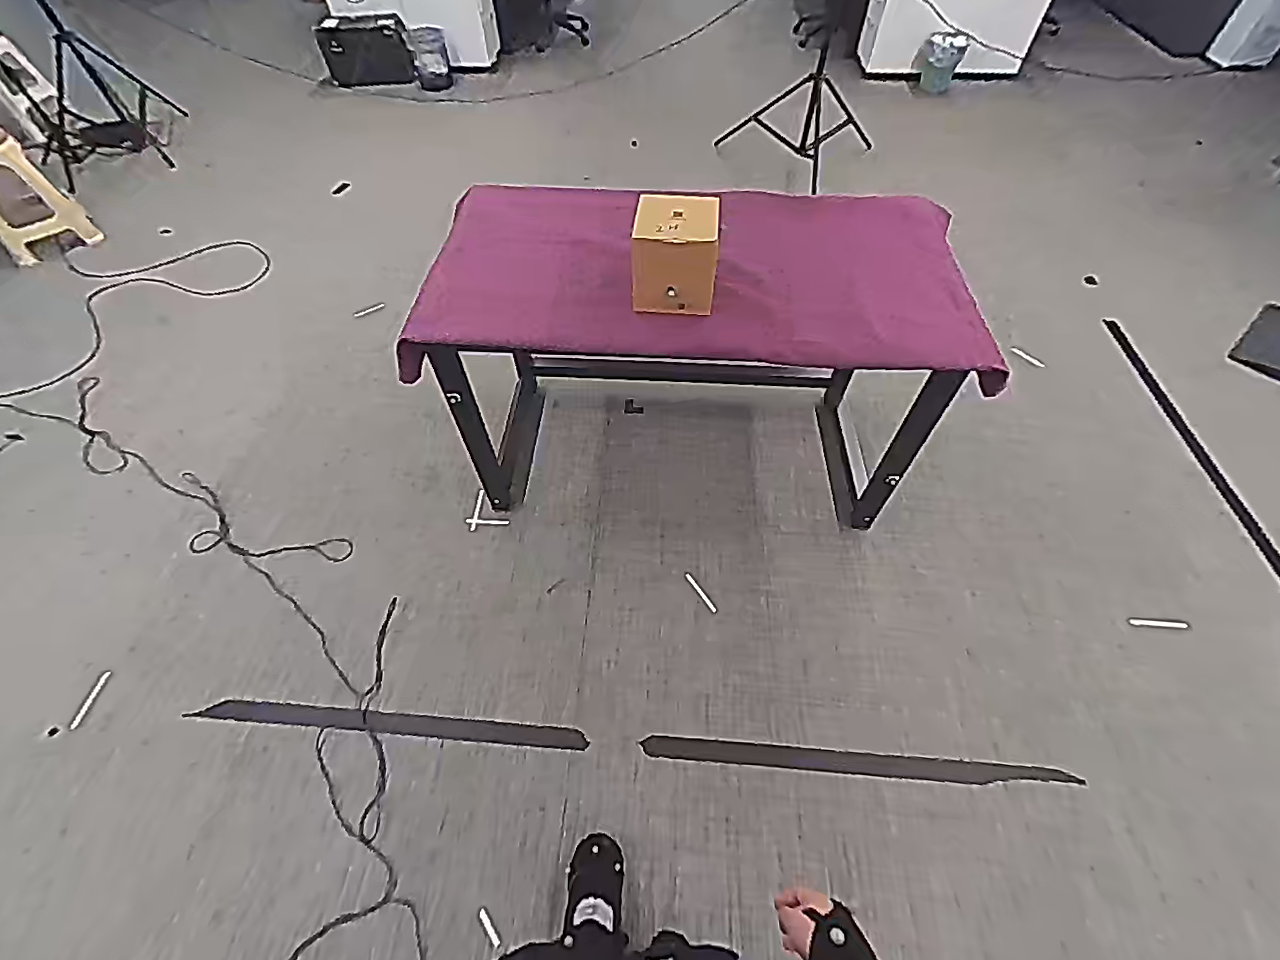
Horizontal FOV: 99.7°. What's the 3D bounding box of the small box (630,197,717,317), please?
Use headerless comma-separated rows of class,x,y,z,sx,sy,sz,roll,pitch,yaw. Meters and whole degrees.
small box,0.071,-0.469,1.141,0.168,0.176,0.179,4,54,4
